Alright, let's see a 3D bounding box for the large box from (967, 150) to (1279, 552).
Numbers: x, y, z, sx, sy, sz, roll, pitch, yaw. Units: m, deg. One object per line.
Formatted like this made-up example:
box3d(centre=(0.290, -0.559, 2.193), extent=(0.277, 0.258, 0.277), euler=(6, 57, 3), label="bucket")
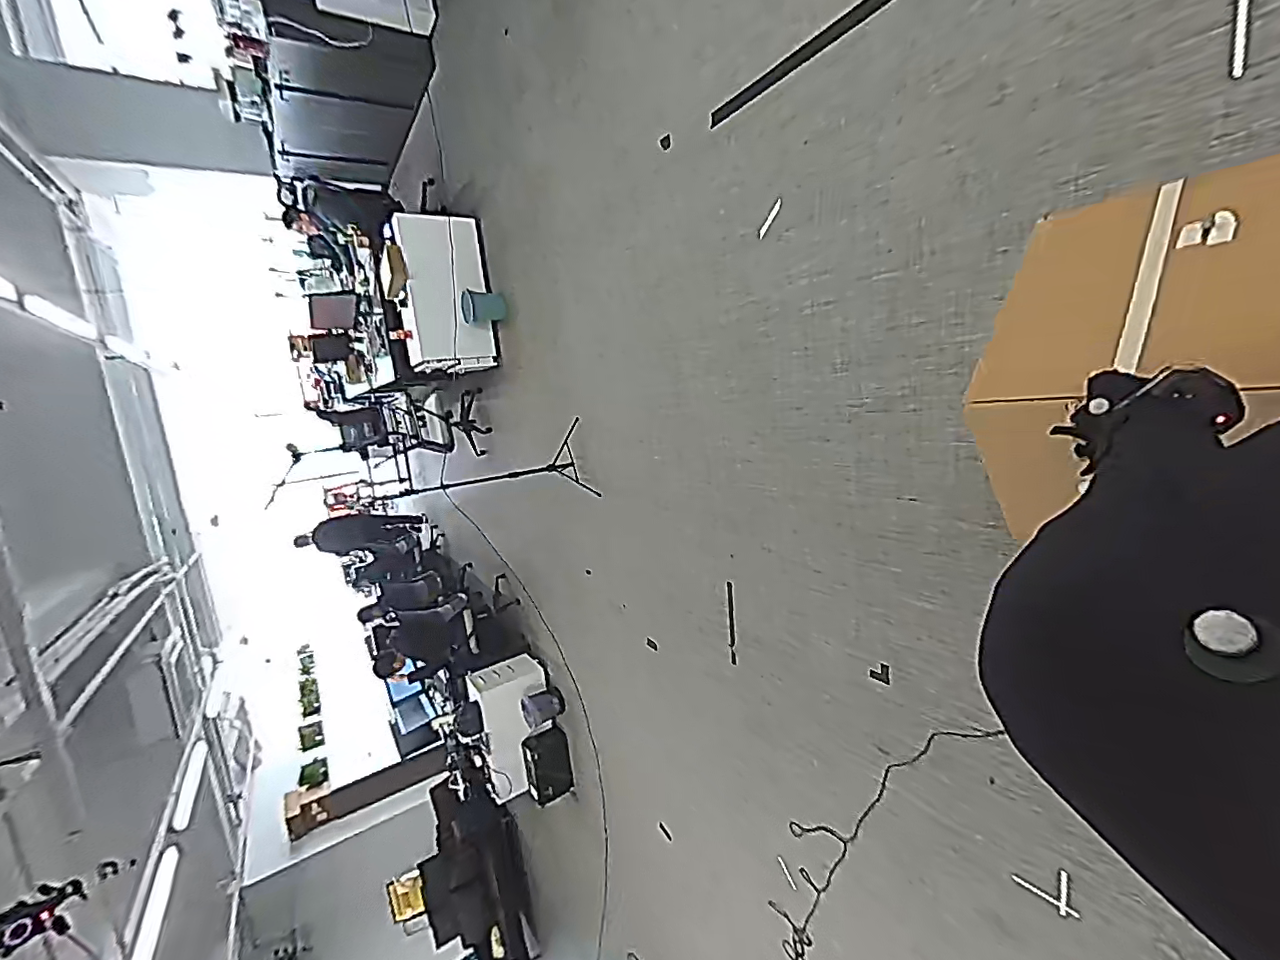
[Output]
box3d(centre=(0.716, -0.160, 0.748), extent=(0.320, 0.408, 0.320), euler=(7, 146, 51), label="large box")
